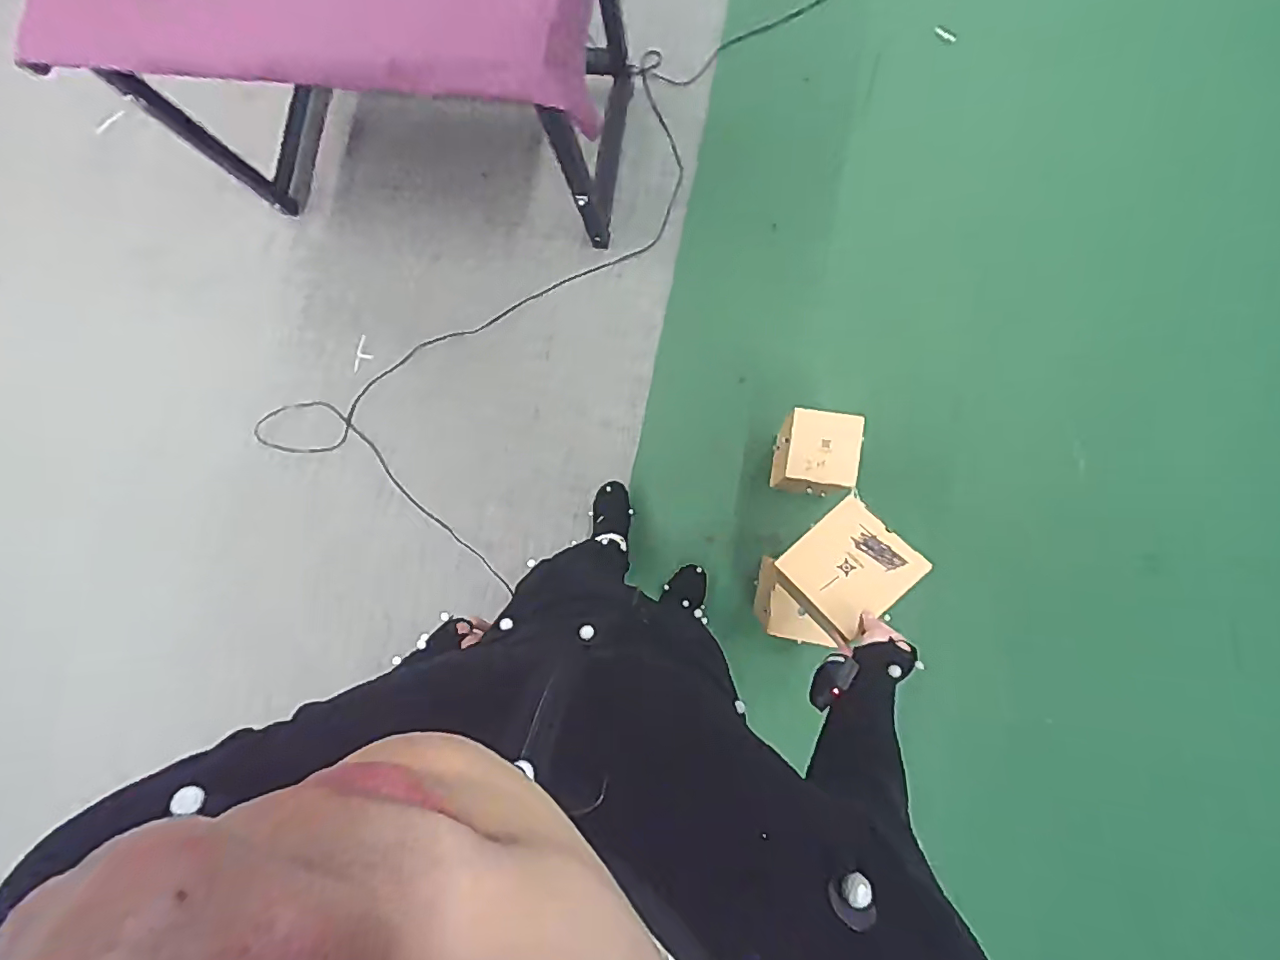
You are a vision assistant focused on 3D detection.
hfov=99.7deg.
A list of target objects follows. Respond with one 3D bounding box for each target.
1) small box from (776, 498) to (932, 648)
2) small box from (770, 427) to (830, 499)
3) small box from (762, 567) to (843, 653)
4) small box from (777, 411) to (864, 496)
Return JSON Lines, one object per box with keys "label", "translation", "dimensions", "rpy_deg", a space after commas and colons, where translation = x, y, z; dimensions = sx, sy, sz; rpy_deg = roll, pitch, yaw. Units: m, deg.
{"label": "small box", "translation": [0.349, 0.164, 0.919], "dimensions": [0.179, 0.176, 0.168], "rpy_deg": [-42, 64, -3]}
{"label": "small box", "translation": [0.470, -0.042, 1.527], "dimensions": [0.179, 0.176, 0.168], "rpy_deg": [9, 85, 7]}
{"label": "small box", "translation": [0.403, 0.311, 1.333], "dimensions": [0.179, 0.176, 0.168], "rpy_deg": [10, 86, 8]}
{"label": "small box", "translation": [0.448, -0.062, 1.365], "dimensions": [0.168, 0.176, 0.179], "rpy_deg": [9, 85, 8]}
